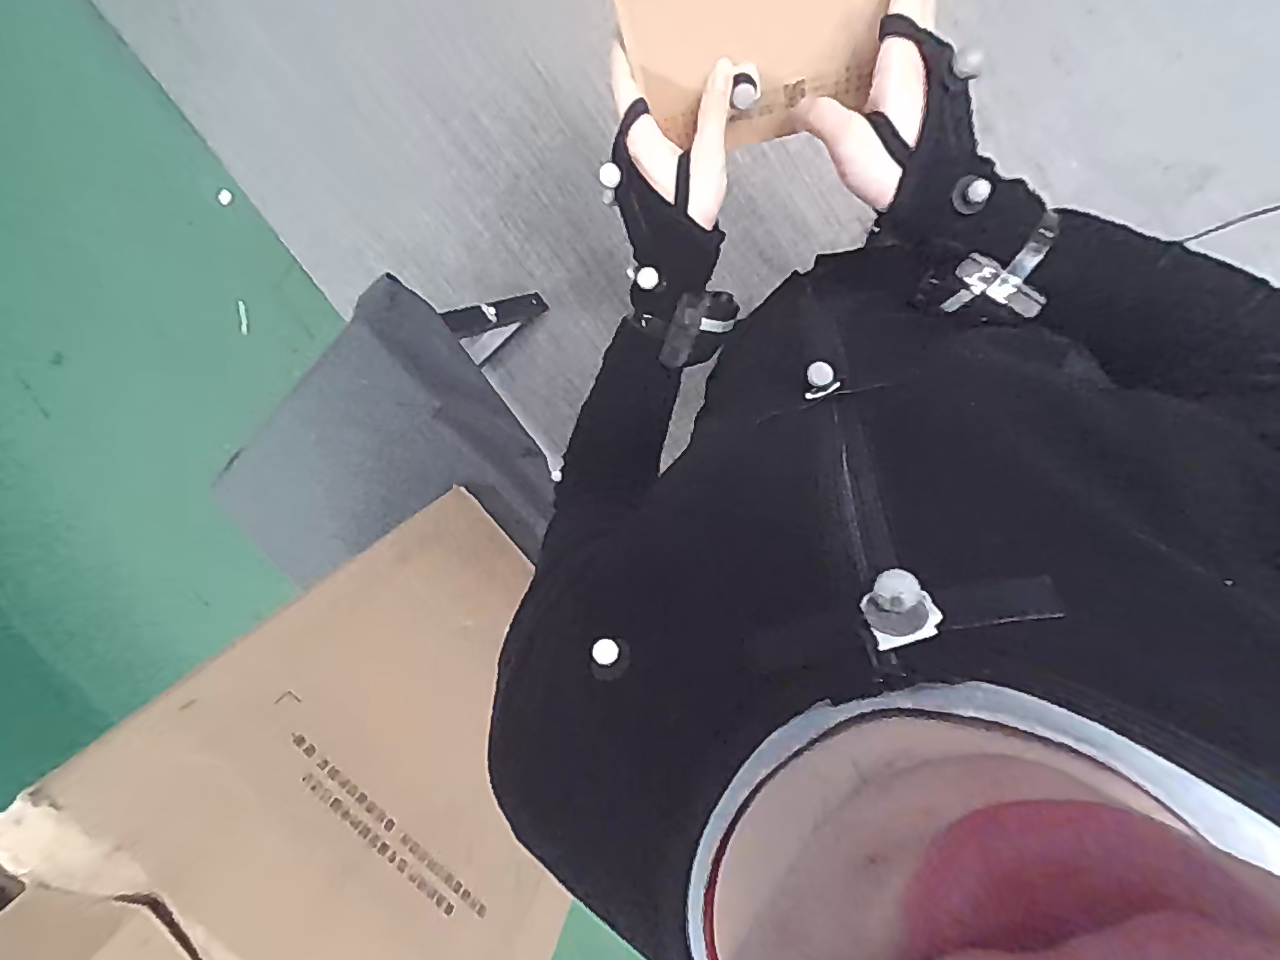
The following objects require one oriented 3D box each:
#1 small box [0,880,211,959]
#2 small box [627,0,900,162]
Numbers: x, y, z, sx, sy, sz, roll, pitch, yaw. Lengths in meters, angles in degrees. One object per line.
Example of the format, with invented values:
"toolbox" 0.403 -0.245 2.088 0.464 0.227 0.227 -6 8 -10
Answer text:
"small box" -0.472 0.456 0.426 0.179 0.176 0.168 -10 109 20
"small box" 0.081 -0.359 0.376 0.168 0.179 0.176 -6 143 18
